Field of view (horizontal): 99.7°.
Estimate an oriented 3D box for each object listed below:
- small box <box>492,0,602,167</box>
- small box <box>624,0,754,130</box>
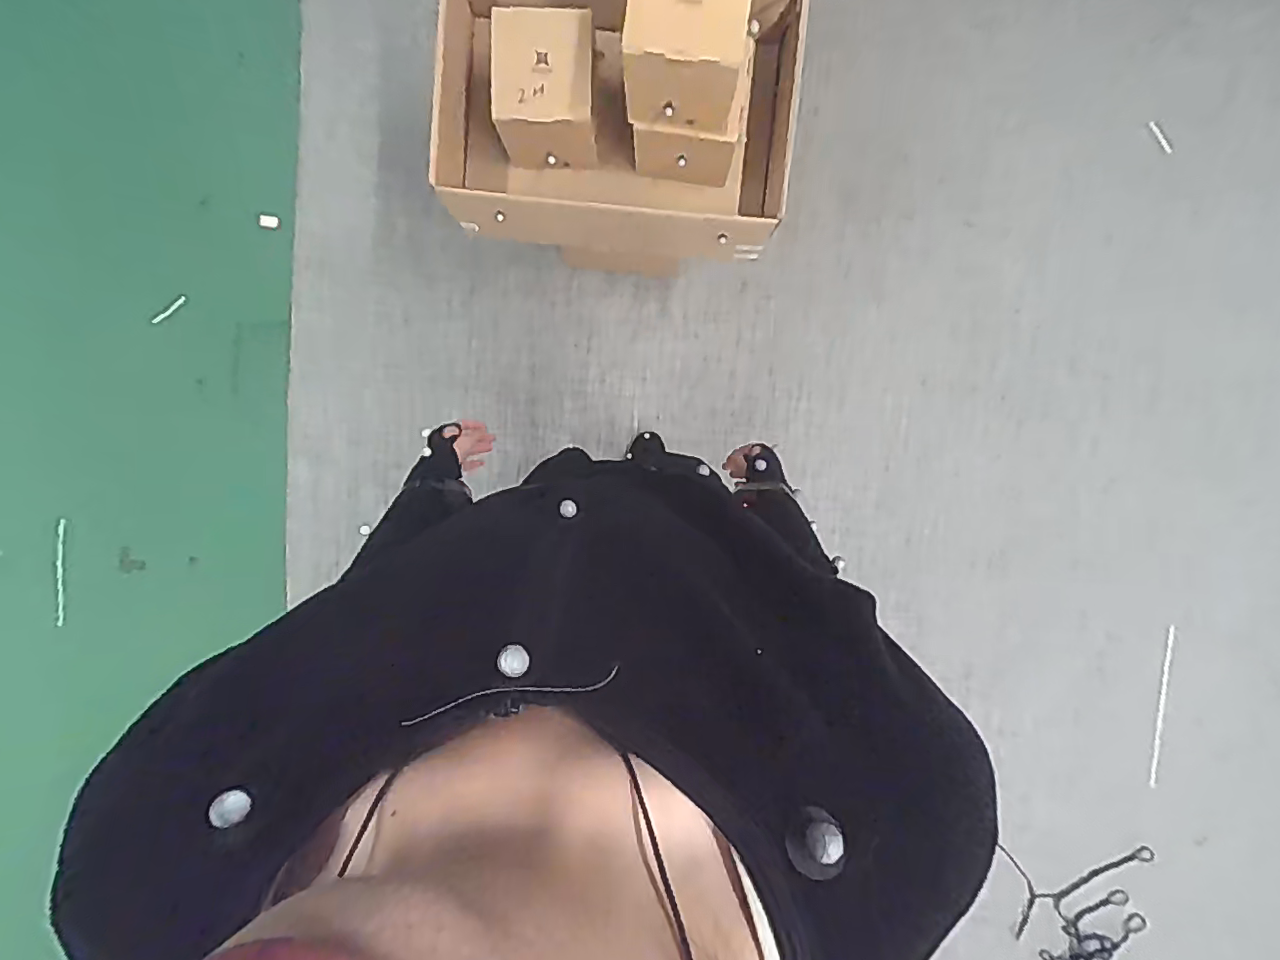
[{"bbox_3d":[-0.157,-0.688,0.954,0.168,0.176,0.179,2,95,0],"label":"small box"},{"bbox_3d":[0.072,-0.659,0.792,0.168,0.176,0.179,8,94,1],"label":"small box"}]
